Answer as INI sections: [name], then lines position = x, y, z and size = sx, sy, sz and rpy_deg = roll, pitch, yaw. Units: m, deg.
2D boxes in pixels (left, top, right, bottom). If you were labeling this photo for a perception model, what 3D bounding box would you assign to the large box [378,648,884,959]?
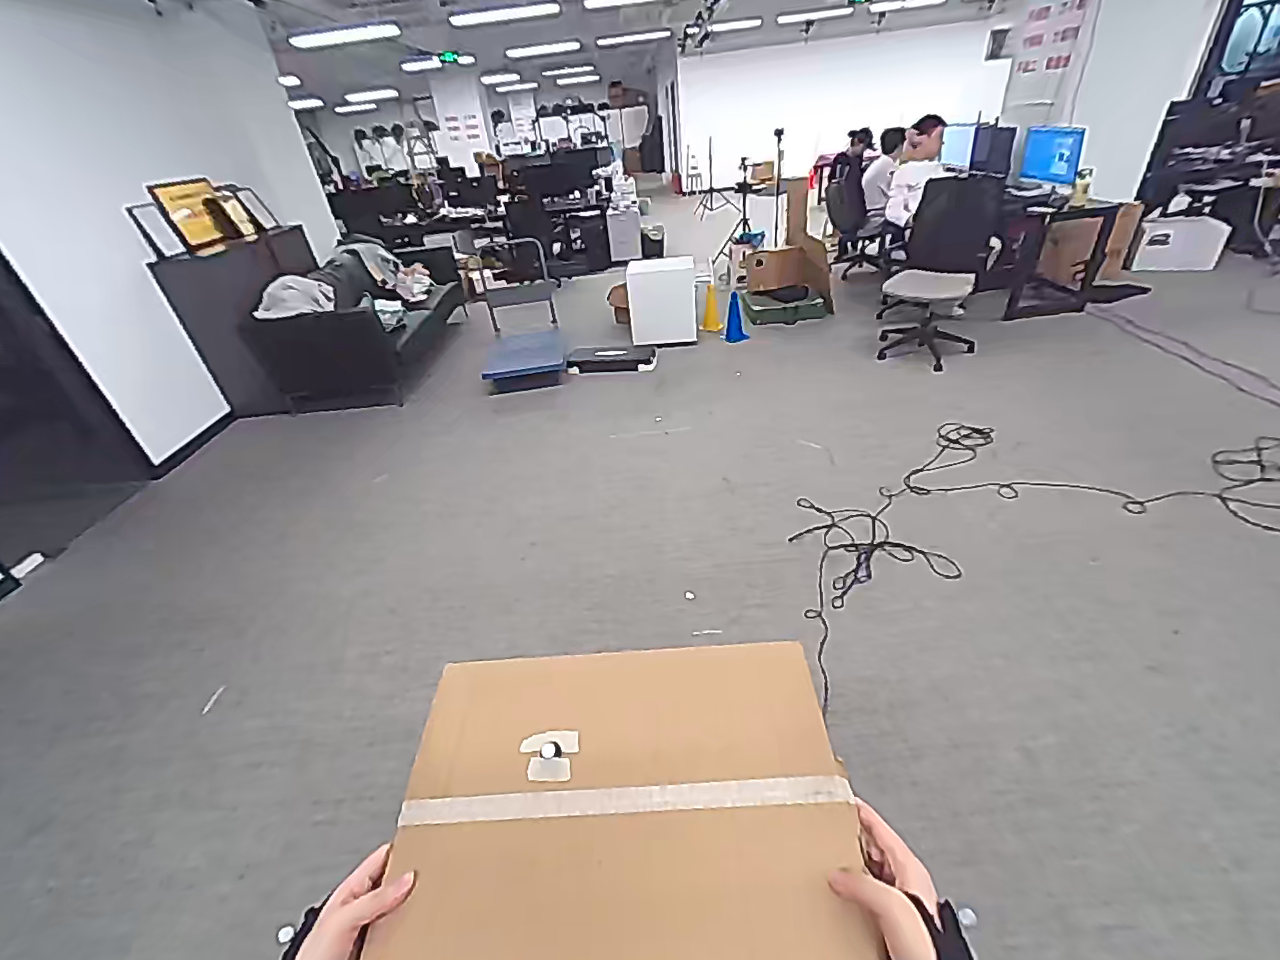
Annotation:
[large box]
position = 0.002, 0.419, 0.592
size = 0.408, 0.320, 0.320
rpy_deg = -6, 39, 4
